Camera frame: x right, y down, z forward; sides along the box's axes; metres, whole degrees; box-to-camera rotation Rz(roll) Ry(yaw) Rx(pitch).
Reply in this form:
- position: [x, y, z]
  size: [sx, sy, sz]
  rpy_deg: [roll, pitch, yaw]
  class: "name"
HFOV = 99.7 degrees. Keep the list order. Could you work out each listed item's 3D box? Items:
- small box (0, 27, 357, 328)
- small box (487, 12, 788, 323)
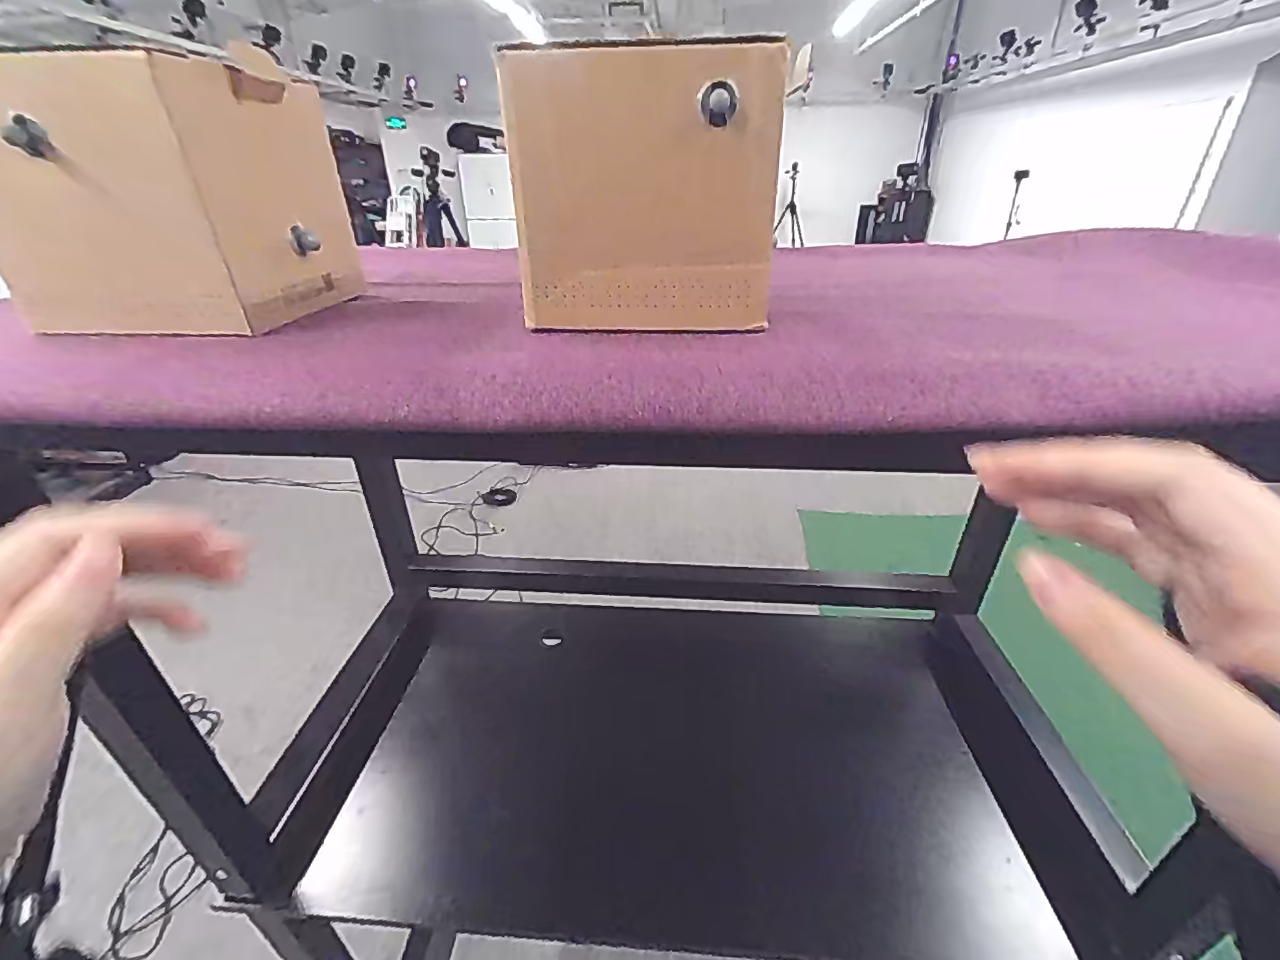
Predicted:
- position: [-0.359, -0.219, 0.416]
  size: [0.179, 0.176, 0.168]
  rpy_deg: [1, 31, 3]
  class: "small box"
- position: [0.004, -0.218, 0.409]
  size: [0.179, 0.176, 0.168]
  rpy_deg: [1, 28, 4]
  class: "small box"
